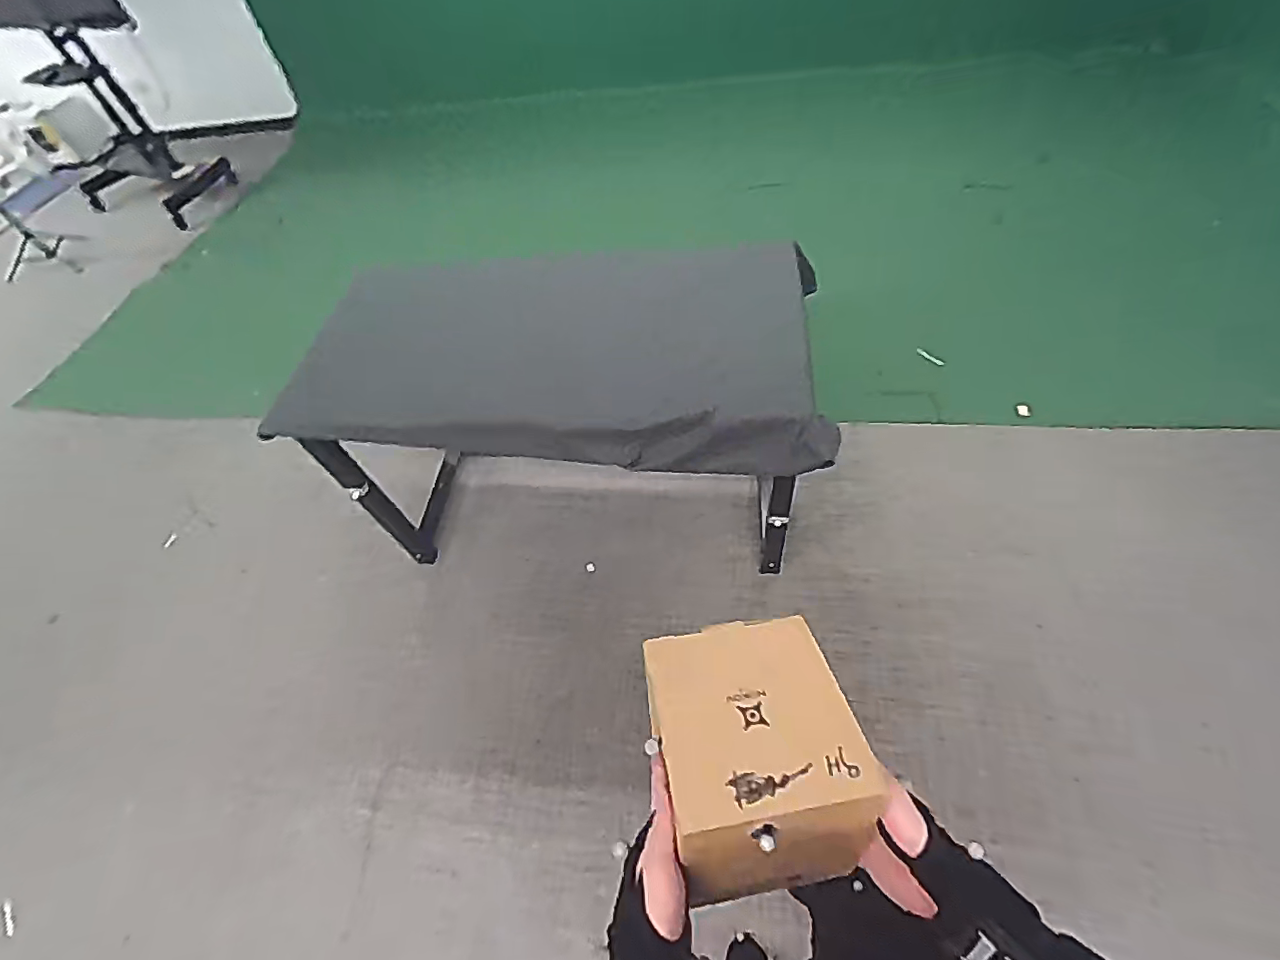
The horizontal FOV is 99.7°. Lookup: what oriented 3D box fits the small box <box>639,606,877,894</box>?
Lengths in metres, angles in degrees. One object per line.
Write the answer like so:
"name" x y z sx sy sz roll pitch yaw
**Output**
"small box" 0.097 0.255 0.523 0.168 0.176 0.179 -11 37 -4
